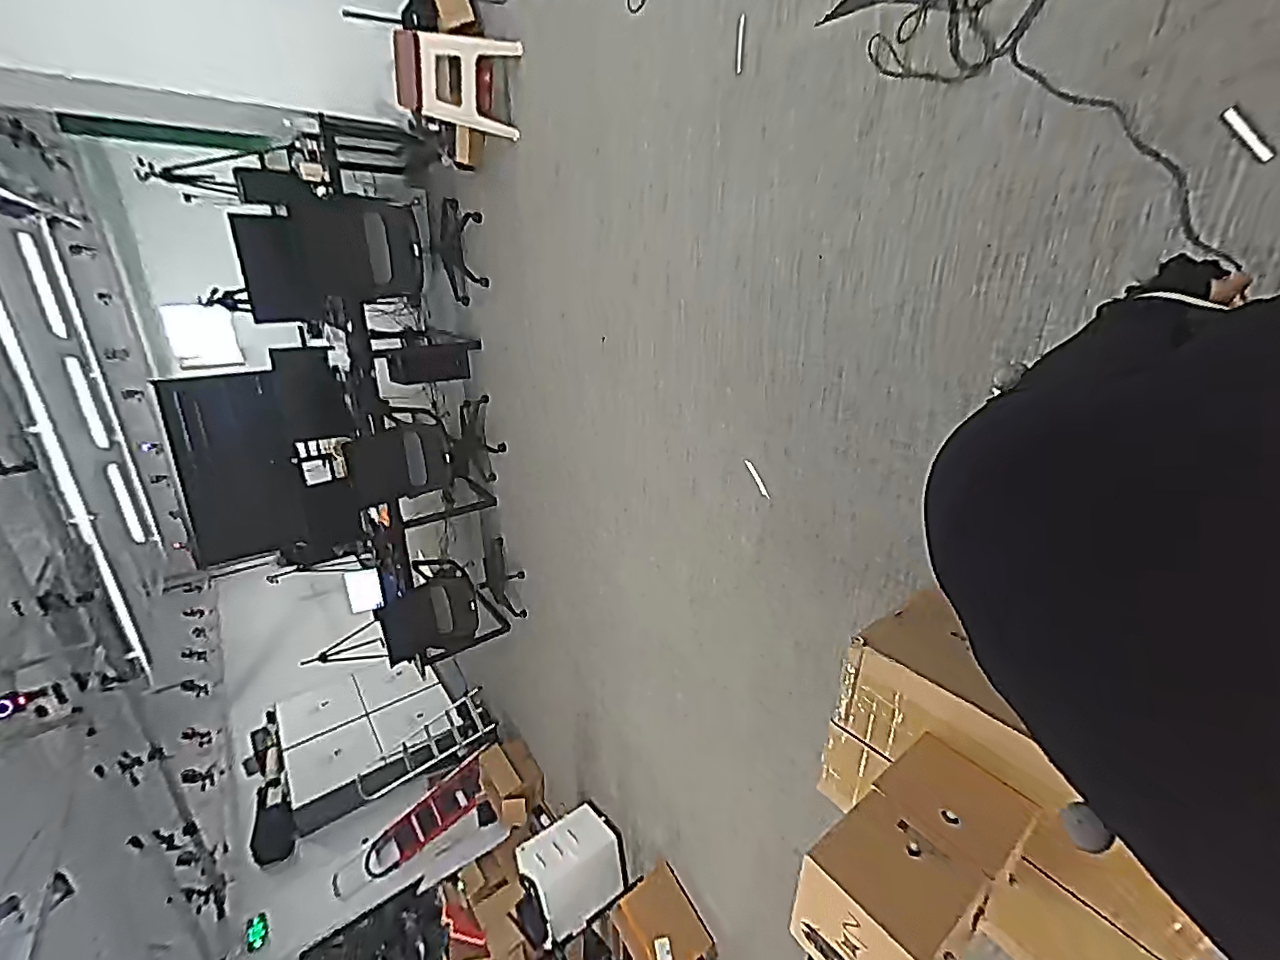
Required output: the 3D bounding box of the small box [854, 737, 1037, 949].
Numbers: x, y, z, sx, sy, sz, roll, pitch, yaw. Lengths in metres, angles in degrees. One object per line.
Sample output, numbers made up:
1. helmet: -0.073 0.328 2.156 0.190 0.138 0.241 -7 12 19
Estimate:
1. small box: 0.465 0.537 0.829 0.179 0.176 0.168 29 125 48
